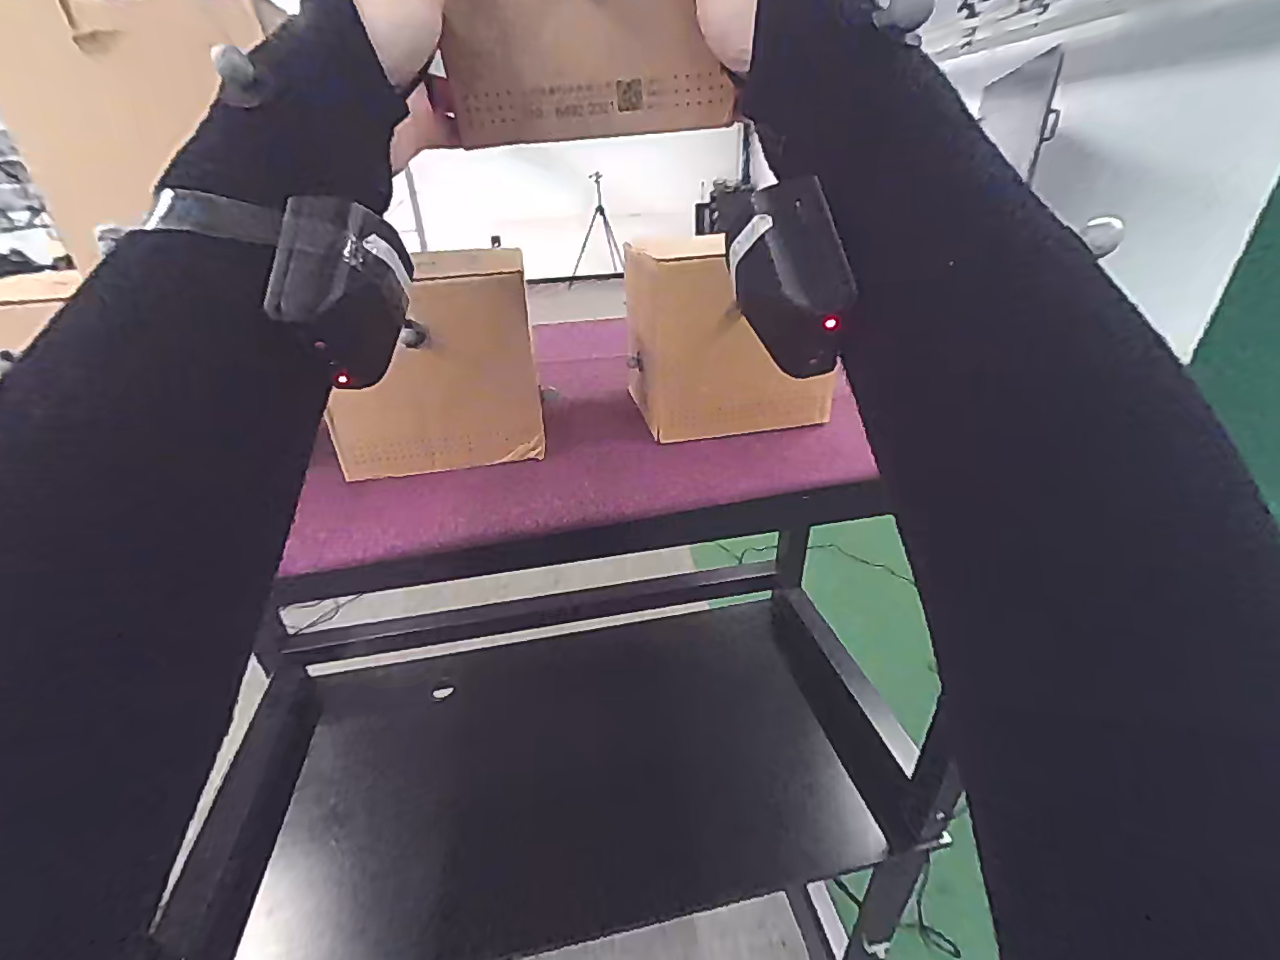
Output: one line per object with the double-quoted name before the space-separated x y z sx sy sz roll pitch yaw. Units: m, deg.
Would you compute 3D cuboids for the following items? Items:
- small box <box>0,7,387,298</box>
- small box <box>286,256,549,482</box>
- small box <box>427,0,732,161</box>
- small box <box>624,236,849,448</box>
"small box" -0.320 -0.243 0.428 0.168 0.176 0.179 -6 29 -7
"small box" -0.187 -0.109 0.516 0.179 0.176 0.168 -7 30 -8
"small box" -0.030 -0.310 0.342 0.168 0.176 0.179 -2 38 5
"small box" 0.085 -0.147 0.558 0.179 0.176 0.168 -9 29 -8
